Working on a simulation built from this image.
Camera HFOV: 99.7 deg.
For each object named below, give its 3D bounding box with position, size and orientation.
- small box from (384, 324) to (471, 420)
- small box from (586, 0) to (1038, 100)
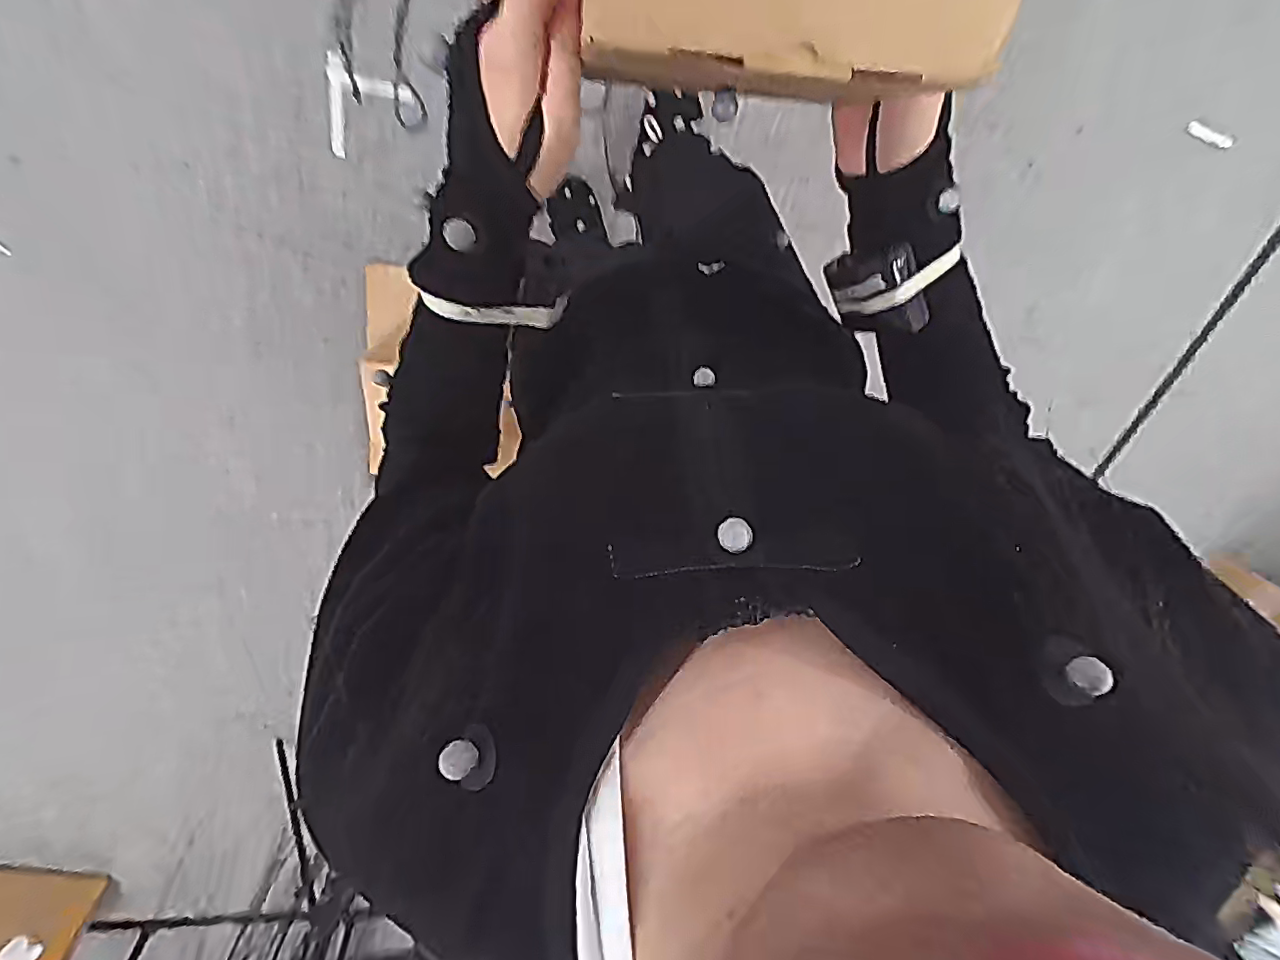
[{"bbox_3d":[-0.496,-0.261,1.283,0.168,0.176,0.179,3,120,-12],"label":"small box"},{"bbox_3d":[0.064,-0.277,0.225,0.168,0.176,0.179,1,122,-8],"label":"small box"}]
